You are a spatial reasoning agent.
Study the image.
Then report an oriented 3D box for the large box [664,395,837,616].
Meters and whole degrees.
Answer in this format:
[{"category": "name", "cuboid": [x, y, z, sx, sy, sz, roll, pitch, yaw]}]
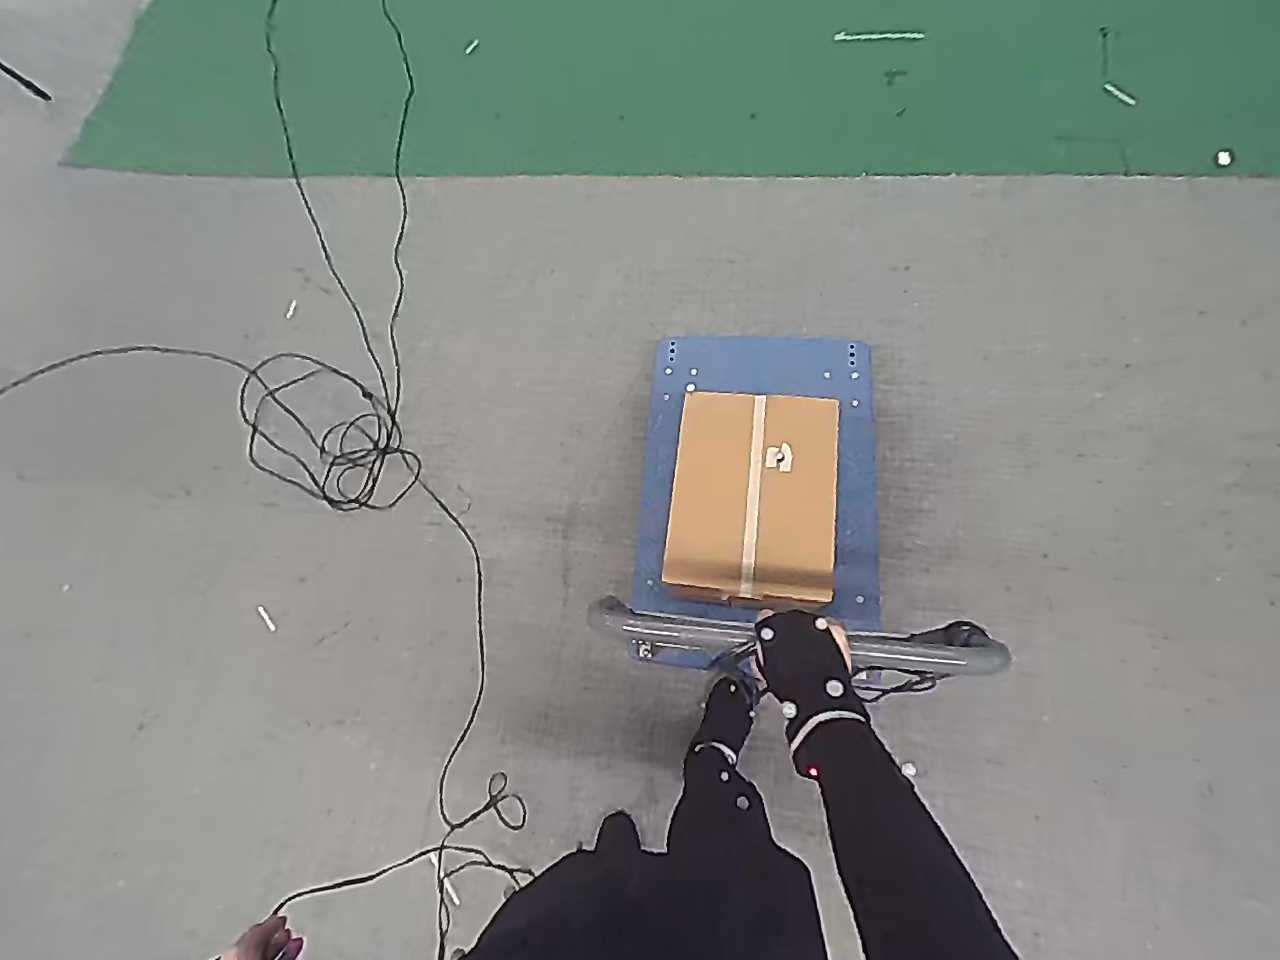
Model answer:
[{"category": "large box", "cuboid": [0.240, 0.069, 1.185, 0.320, 0.320, 0.408, 5, 72, 9]}]
